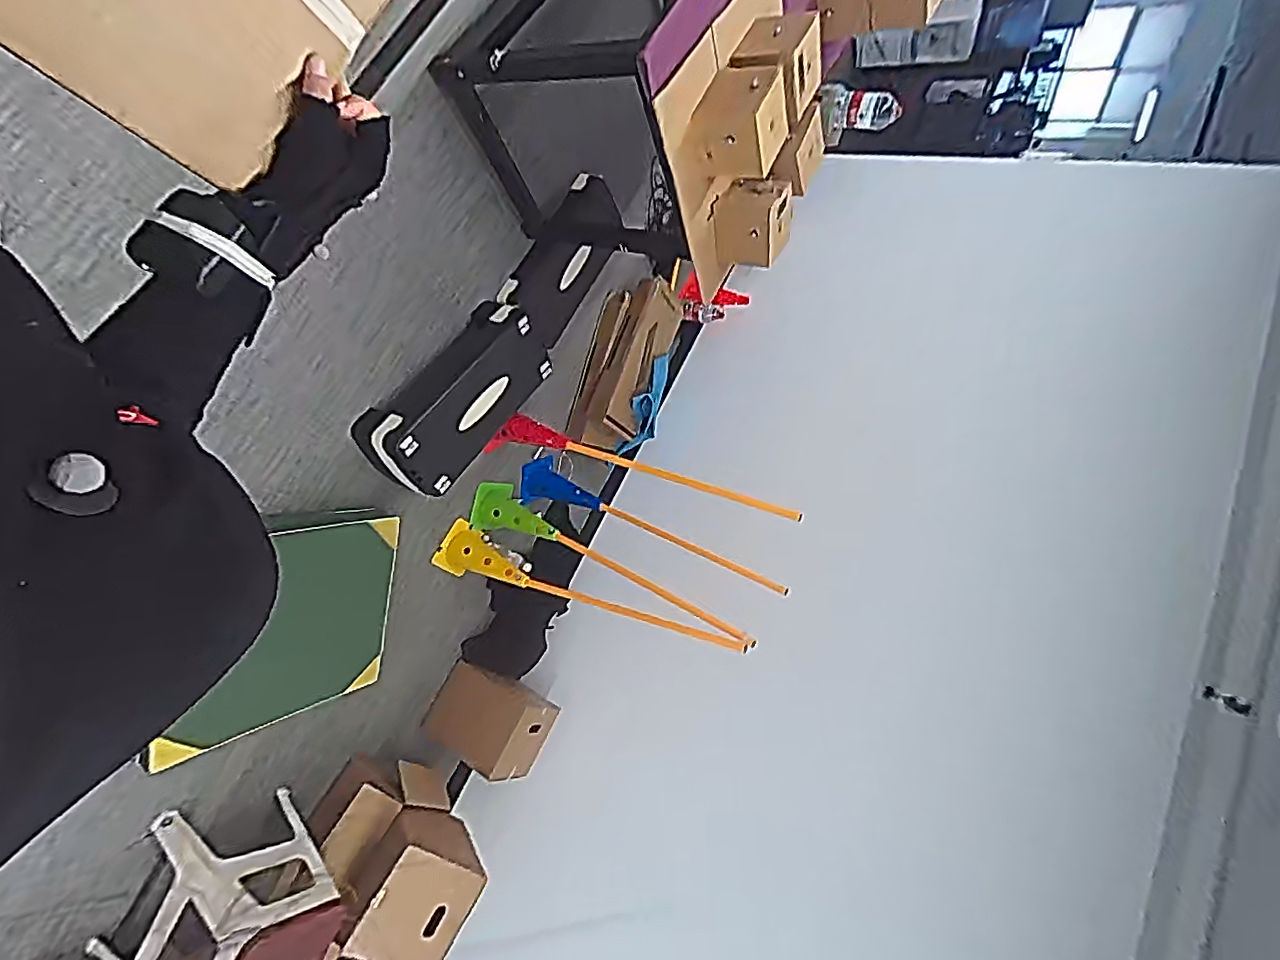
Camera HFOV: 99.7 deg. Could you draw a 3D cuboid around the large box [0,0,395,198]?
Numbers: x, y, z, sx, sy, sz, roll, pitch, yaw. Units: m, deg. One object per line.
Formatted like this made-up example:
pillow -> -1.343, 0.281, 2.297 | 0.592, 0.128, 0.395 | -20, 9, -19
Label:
large box -> -0.415, -0.480, 0.340 | 0.320, 0.320, 0.408 | -52, 151, 3
